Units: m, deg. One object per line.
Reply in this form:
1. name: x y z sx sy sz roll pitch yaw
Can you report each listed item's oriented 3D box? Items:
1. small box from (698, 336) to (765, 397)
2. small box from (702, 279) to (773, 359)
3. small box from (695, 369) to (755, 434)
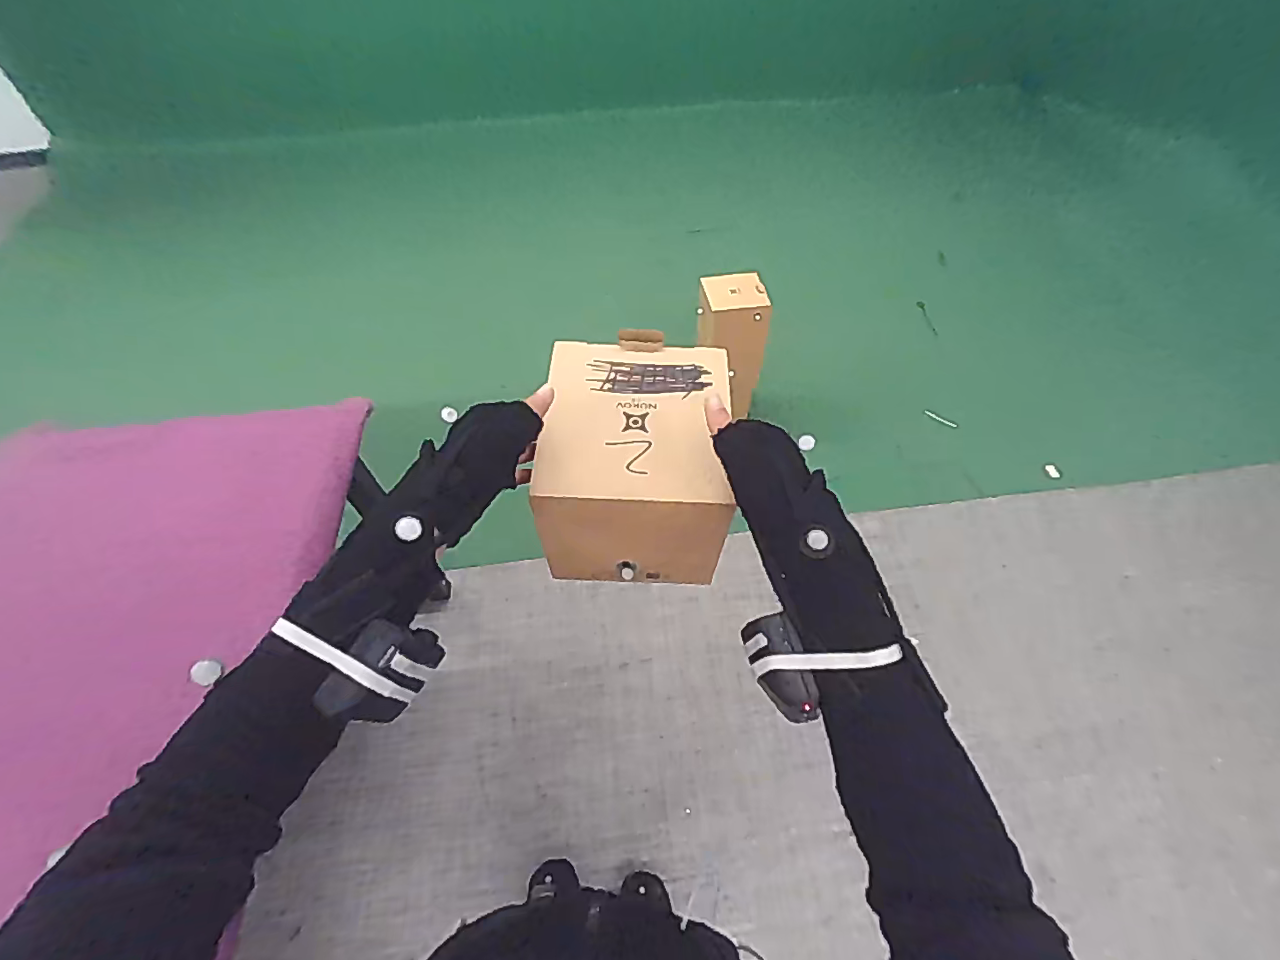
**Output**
1. small box: 0.294 -0.388 1.768 0.179 0.176 0.168 -4 52 -3
2. small box: 0.286 -0.484 1.640 0.179 0.176 0.168 -7 53 -4
3. small box: 0.292 -0.285 1.899 0.168 0.176 0.179 -7 54 -3
